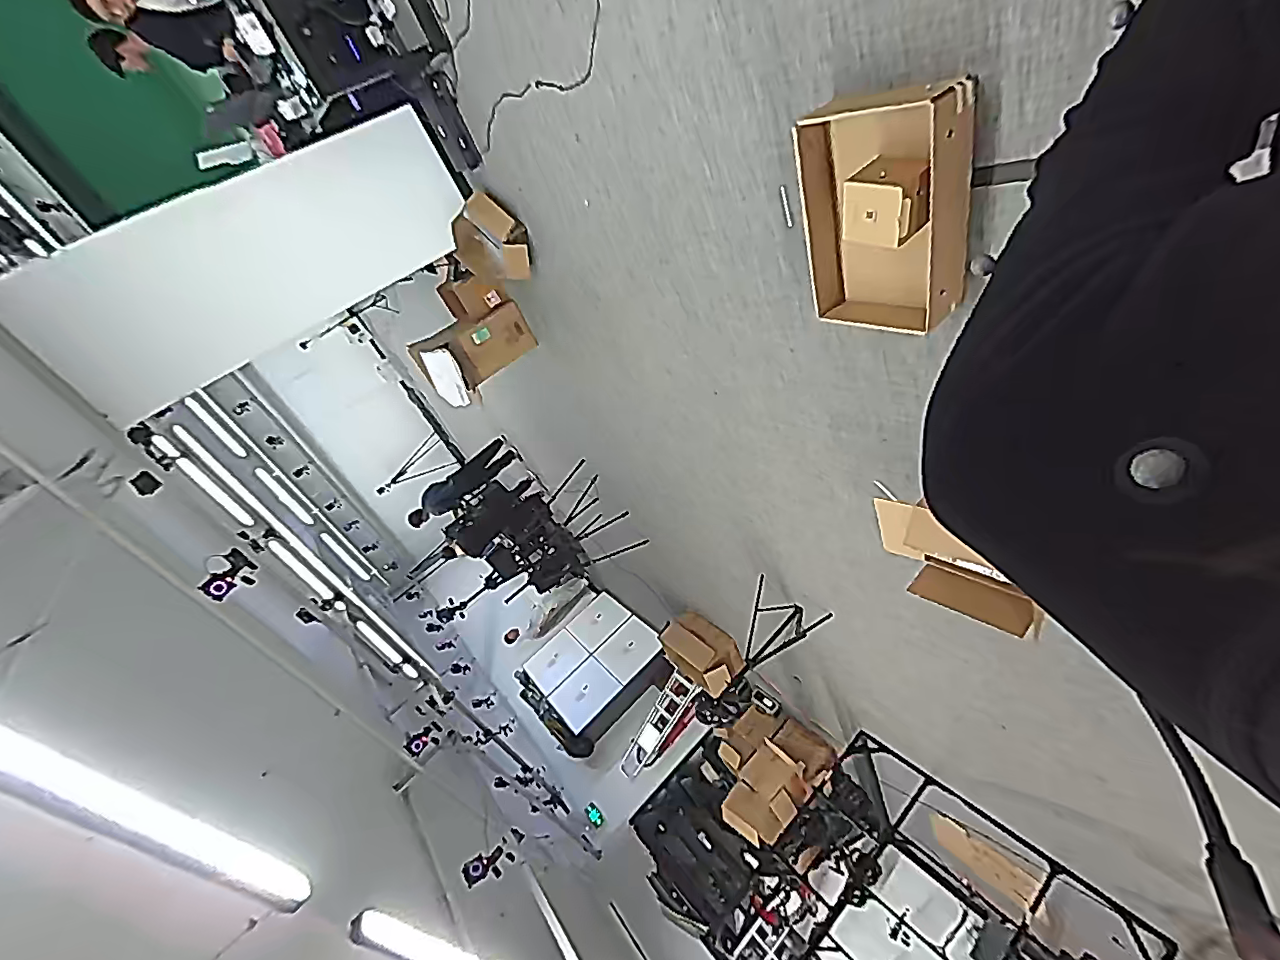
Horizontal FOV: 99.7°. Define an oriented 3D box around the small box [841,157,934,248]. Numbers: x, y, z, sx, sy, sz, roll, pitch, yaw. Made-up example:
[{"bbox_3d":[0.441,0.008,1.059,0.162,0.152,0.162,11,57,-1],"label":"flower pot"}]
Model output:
[{"bbox_3d":[0.685,-0.773,1.501,0.179,0.176,0.168,33,155,38],"label":"small box"}]
